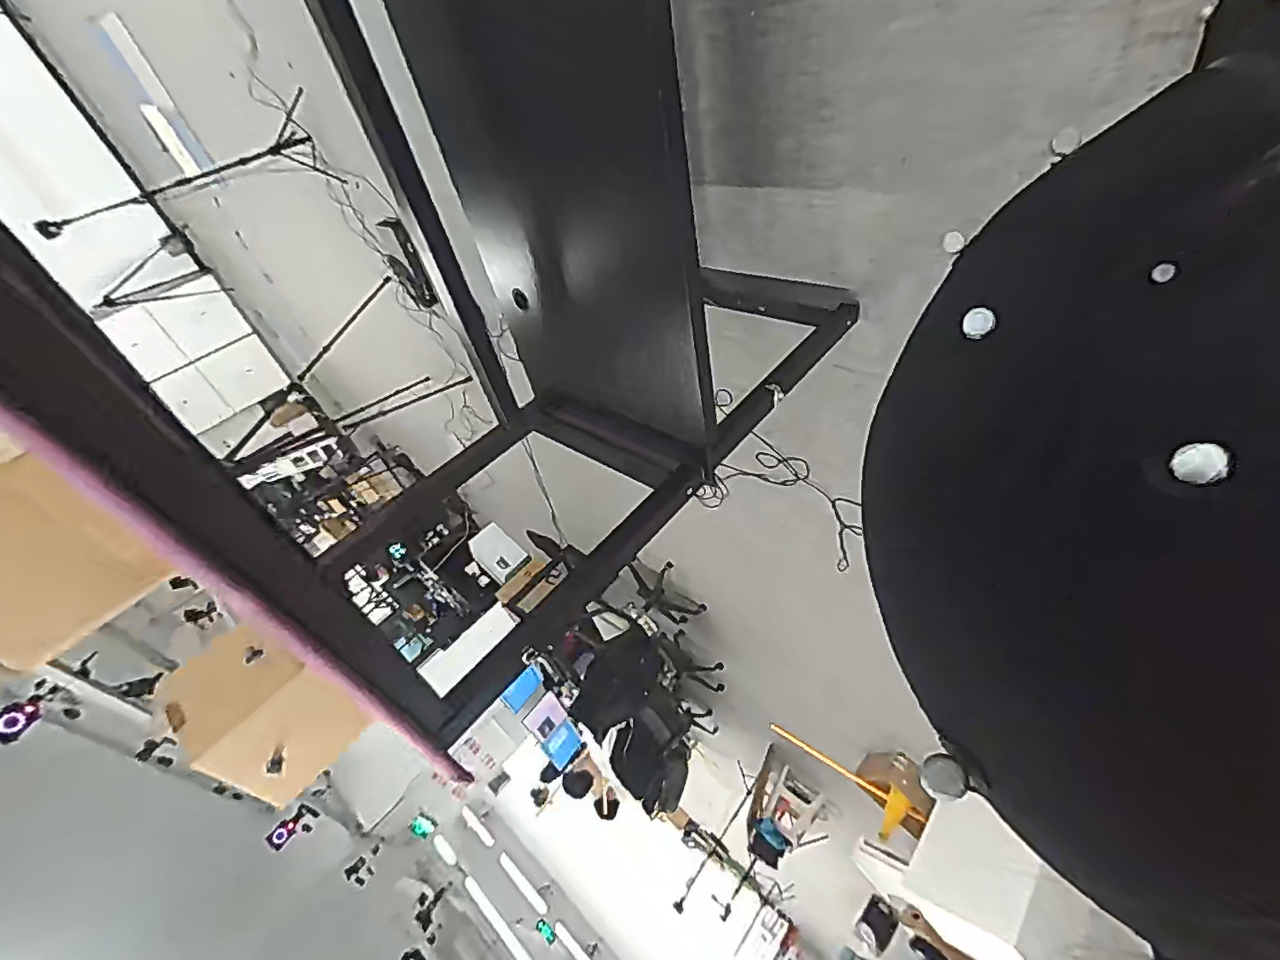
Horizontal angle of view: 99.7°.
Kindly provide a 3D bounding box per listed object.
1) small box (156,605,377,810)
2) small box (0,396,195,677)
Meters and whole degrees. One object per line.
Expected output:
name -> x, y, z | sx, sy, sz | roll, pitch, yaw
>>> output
small box -> -0.514, 0.315, 0.765 | 0.168, 0.176, 0.179 | 24, 145, 35
small box -> -0.596, 0.048, 0.533 | 0.168, 0.176, 0.179 | 27, 147, 36
